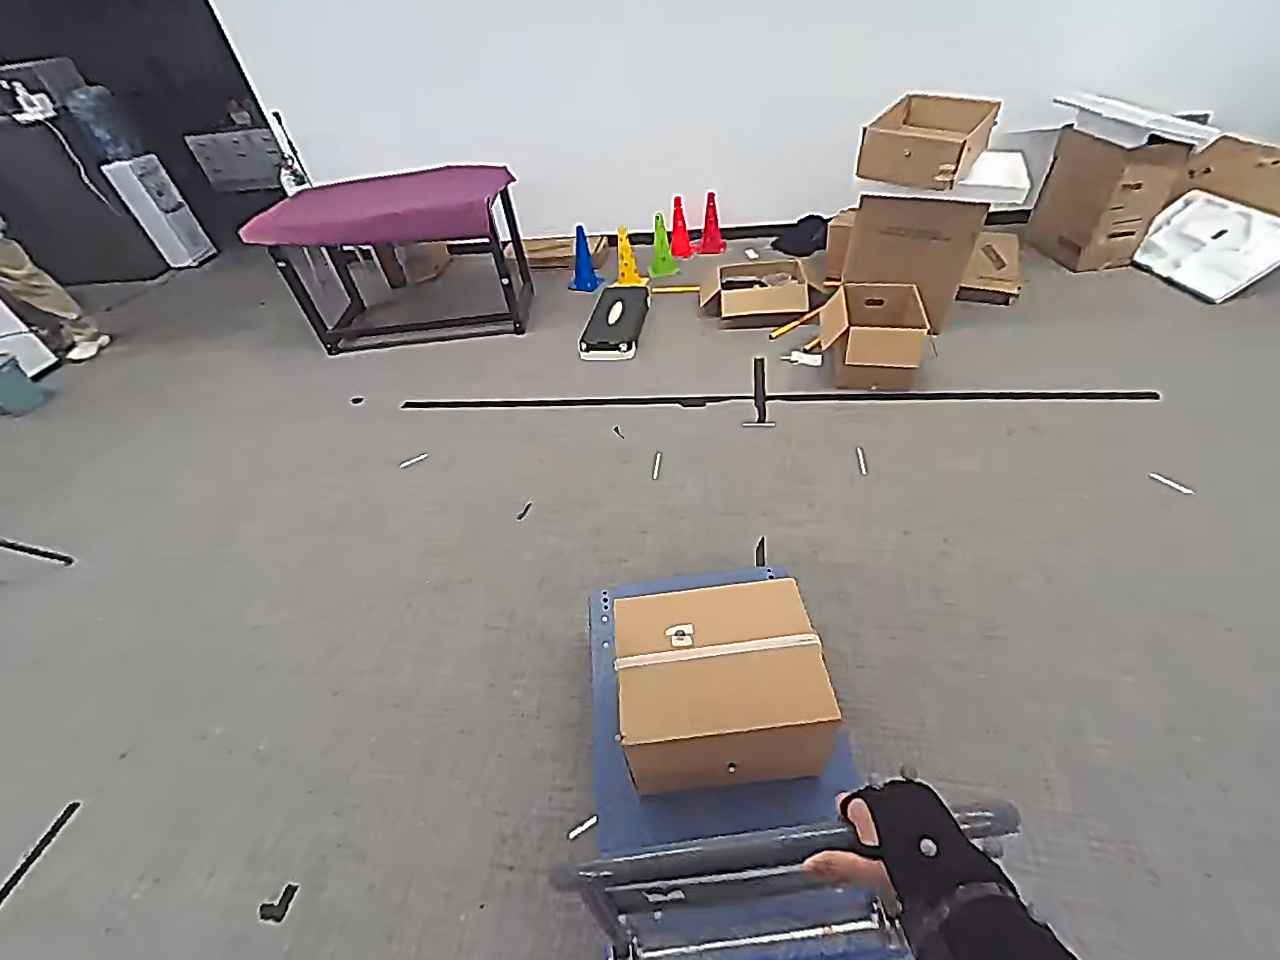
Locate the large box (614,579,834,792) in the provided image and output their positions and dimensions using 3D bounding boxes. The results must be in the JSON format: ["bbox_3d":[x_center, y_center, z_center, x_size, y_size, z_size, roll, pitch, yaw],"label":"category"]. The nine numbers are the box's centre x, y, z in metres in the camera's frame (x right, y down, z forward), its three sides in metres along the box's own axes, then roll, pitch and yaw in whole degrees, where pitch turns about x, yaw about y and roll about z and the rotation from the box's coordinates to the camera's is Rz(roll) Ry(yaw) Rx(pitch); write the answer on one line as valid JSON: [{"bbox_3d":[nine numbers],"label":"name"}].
[{"bbox_3d":[0.170,0.463,1.211,0.408,0.320,0.320,-9,43,1],"label":"large box"}]
